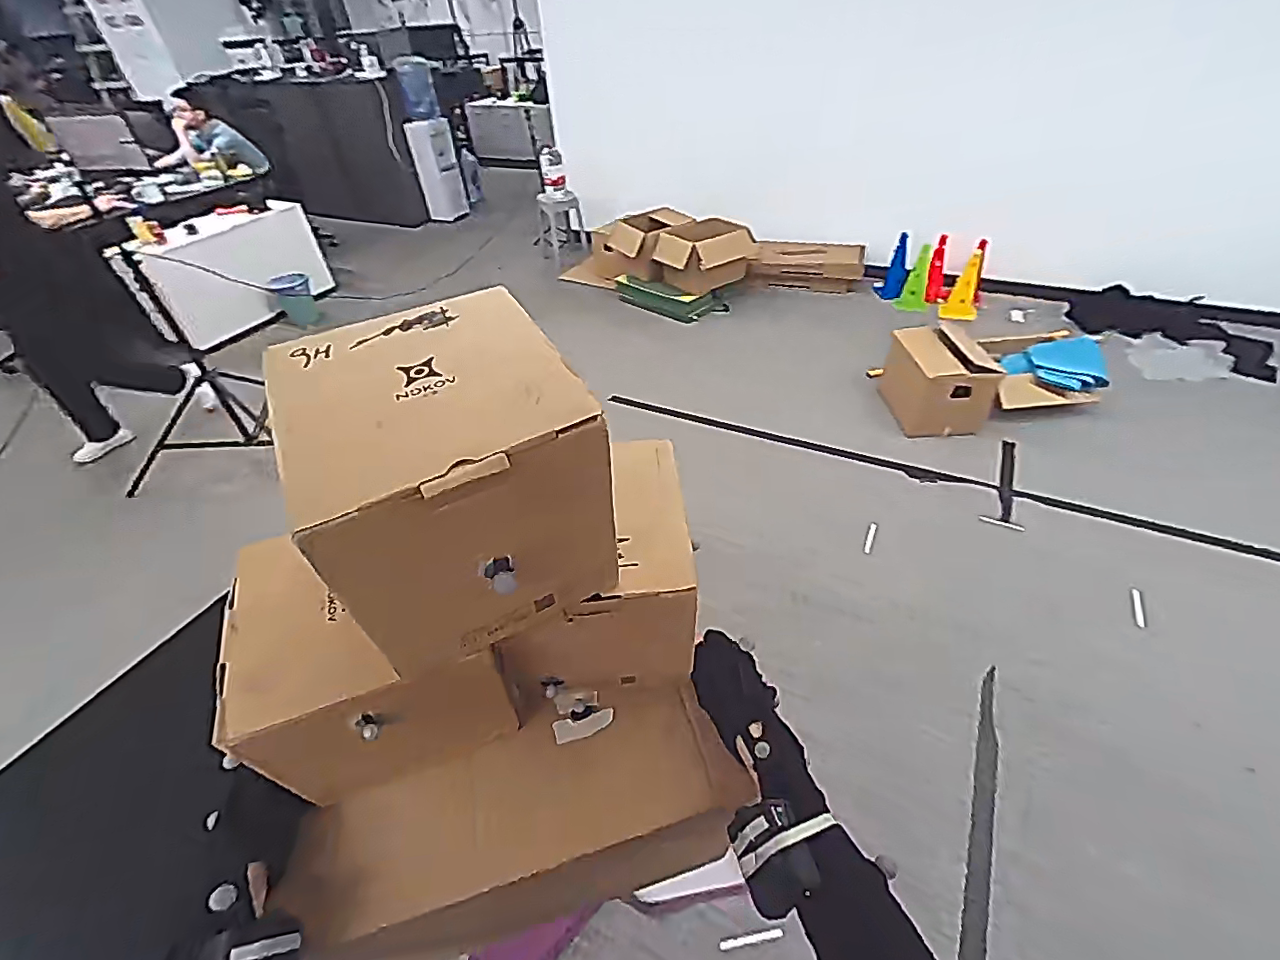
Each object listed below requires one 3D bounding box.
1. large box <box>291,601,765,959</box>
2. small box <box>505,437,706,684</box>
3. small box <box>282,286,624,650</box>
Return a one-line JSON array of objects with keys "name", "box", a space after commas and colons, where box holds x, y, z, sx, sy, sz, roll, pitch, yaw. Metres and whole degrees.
[{"name": "large box", "box": [-0.119, 0.310, 0.646, 0.408, 0.320, 0.320, -13, 48, -12]}, {"name": "small box", "box": [-0.031, 0.083, 0.524, 0.168, 0.176, 0.179, -5, 45, -2]}, {"name": "small box", "box": [-0.119, -0.005, 0.384, 0.168, 0.176, 0.179, -23, 51, -19]}]
